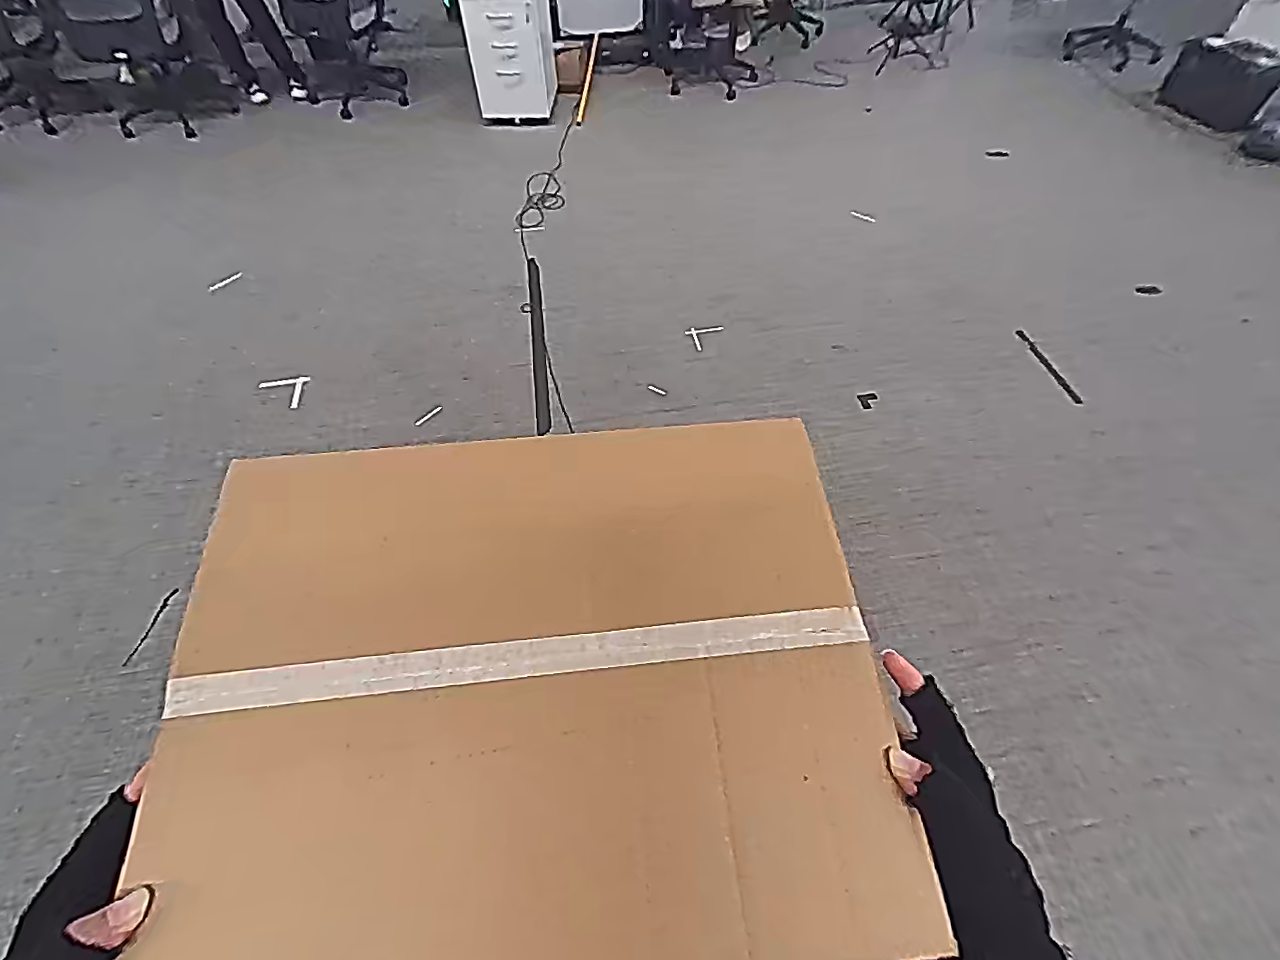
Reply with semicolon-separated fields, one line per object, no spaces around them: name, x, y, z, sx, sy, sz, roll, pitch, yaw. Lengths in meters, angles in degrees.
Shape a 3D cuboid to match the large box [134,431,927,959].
large box;-0.068;0.184;0.463;0.408;0.320;0.320;-5;63;-4
